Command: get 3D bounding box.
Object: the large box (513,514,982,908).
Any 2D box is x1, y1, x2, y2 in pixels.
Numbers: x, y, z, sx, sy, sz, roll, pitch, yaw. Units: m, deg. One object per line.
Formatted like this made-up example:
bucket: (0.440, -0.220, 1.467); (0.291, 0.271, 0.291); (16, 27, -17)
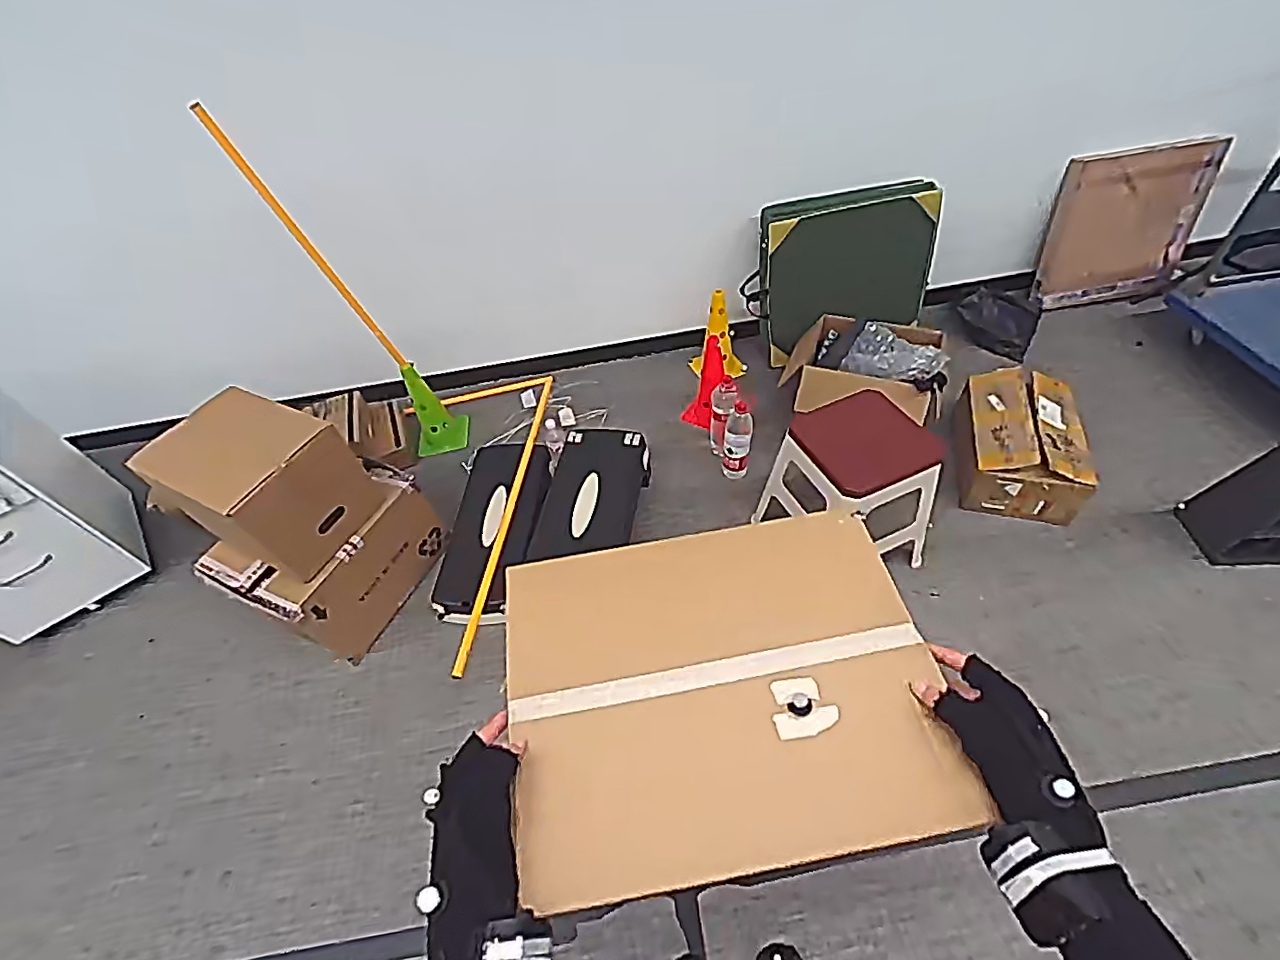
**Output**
large box: (0.082, 0.283, 0.654); (0.408, 0.320, 0.320); (-10, 53, -2)
